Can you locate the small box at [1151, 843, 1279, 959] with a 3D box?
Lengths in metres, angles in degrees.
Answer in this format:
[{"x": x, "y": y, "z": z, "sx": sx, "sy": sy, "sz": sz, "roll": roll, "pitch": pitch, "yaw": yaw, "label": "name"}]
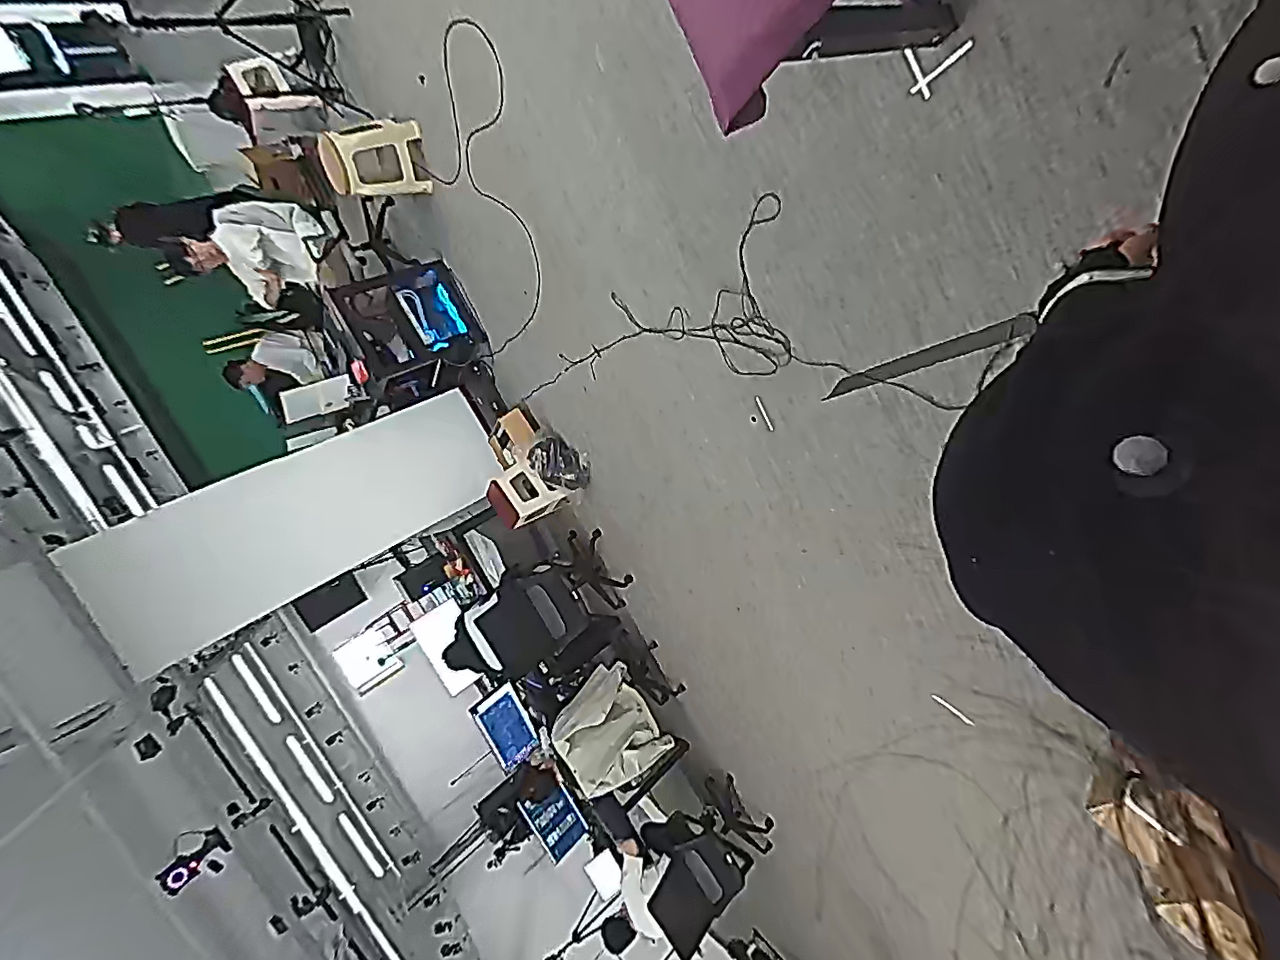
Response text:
[{"x": 1.276, "y": 0.924, "z": 1.169, "sx": 0.168, "sy": 0.176, "sz": 0.179, "roll": 42, "pitch": 145, "yaw": 25, "label": "small box"}]
